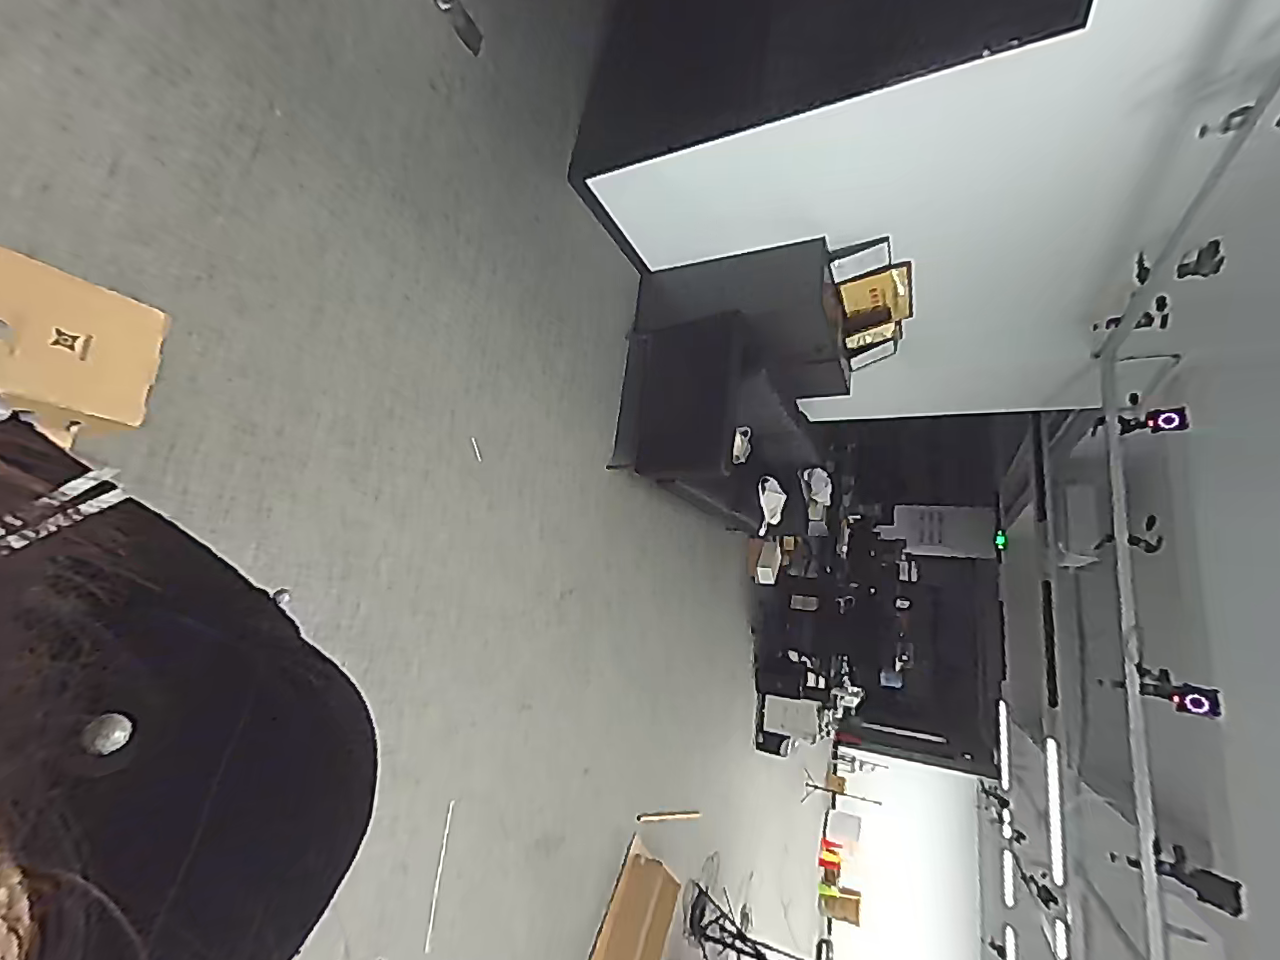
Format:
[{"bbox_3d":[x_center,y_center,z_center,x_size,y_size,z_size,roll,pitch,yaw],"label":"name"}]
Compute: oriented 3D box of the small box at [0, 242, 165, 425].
[{"bbox_3d":[-0.777,-0.174,0.697,0.179,0.176,0.168,27,65,-58],"label":"small box"}]
